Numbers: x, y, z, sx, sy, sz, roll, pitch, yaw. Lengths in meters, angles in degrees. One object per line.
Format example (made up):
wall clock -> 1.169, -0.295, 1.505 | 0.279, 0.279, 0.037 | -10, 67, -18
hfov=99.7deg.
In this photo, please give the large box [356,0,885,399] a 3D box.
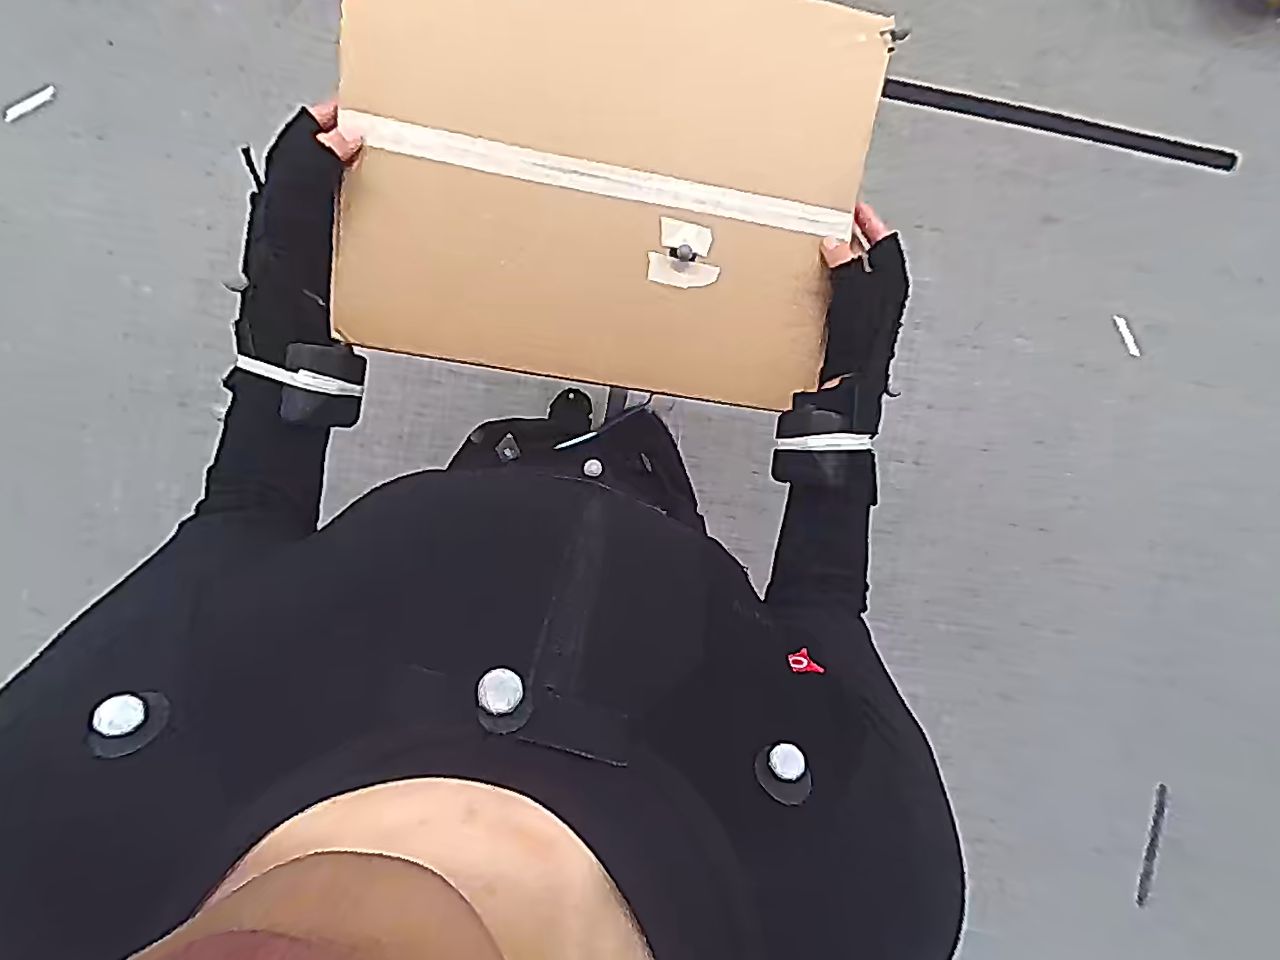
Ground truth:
large box -> -0.035, -0.275, 0.583 | 0.408, 0.320, 0.320 | 8, 102, -8
